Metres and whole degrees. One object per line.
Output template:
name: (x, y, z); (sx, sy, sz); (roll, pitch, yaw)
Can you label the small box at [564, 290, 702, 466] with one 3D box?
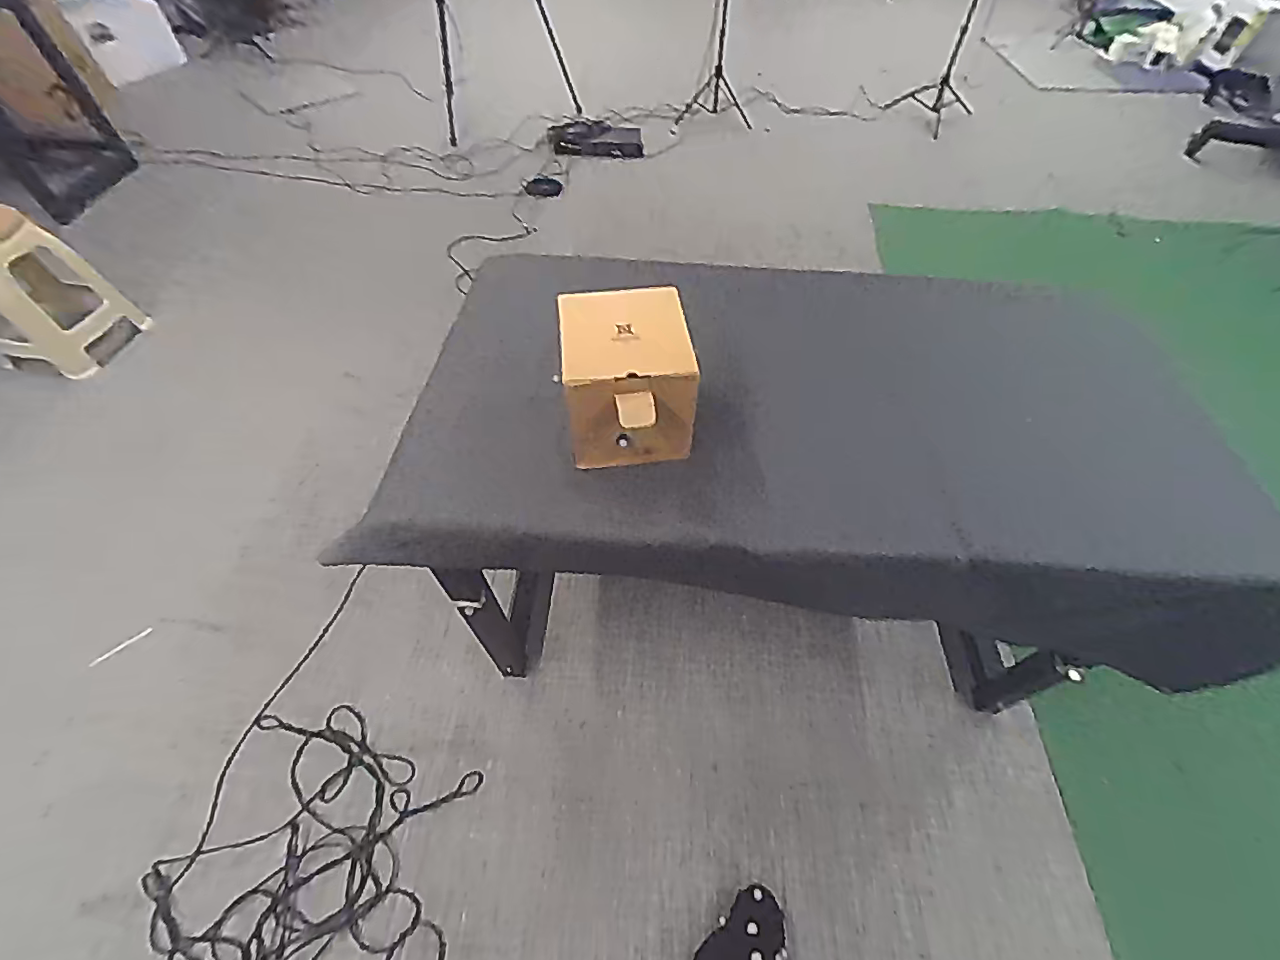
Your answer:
small box: (-0.017, -0.141, 0.759); (0.168, 0.176, 0.179); (-5, 54, -5)
